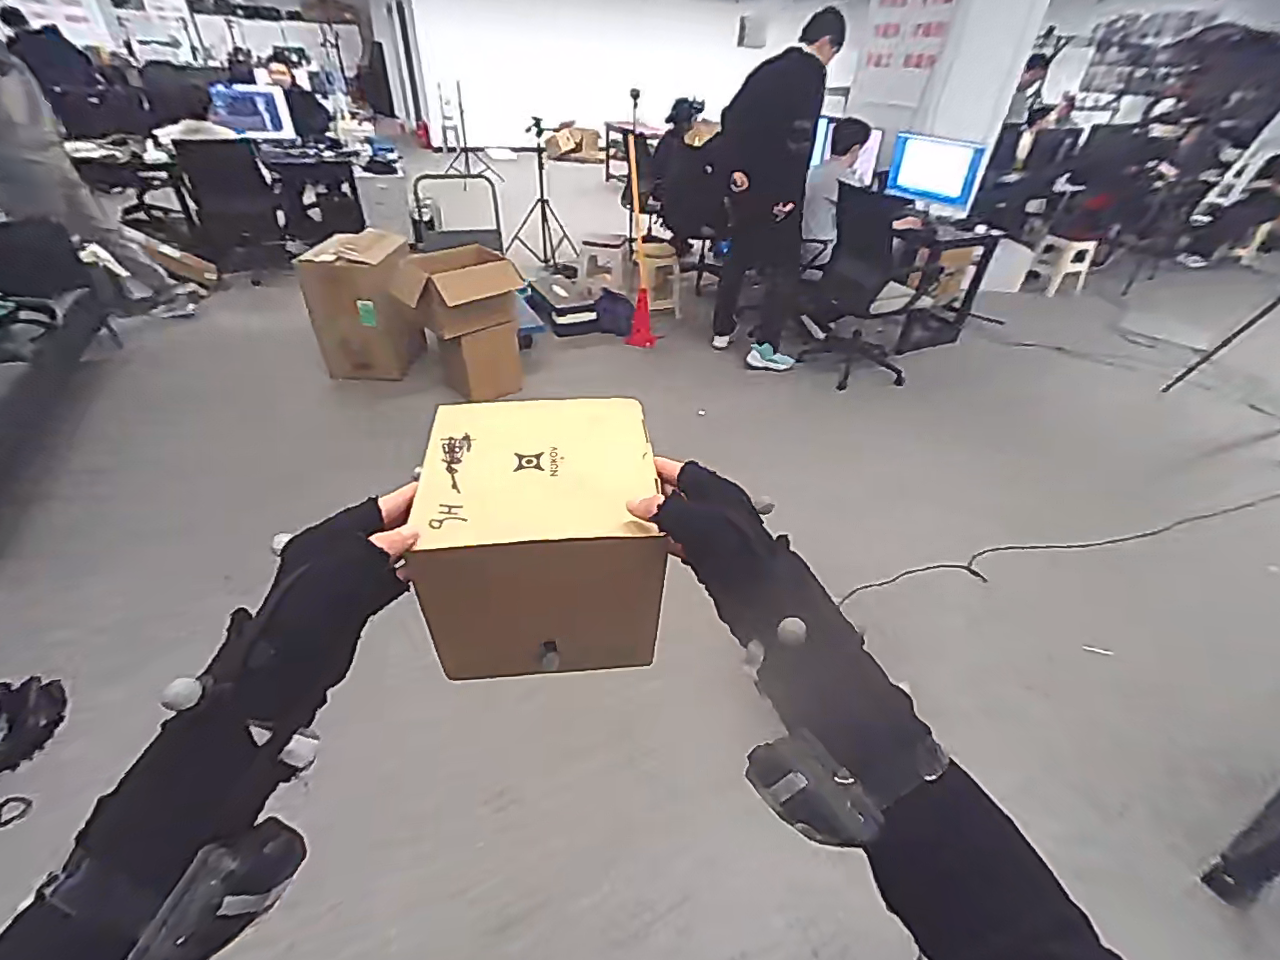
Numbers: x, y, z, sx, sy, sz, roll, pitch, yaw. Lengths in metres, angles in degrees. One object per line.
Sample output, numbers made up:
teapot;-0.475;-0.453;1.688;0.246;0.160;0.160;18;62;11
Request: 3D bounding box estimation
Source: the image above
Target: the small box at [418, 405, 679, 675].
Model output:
small box;-0.072;0.051;0.471;0.179;0.176;0.168;-1;40;-7
